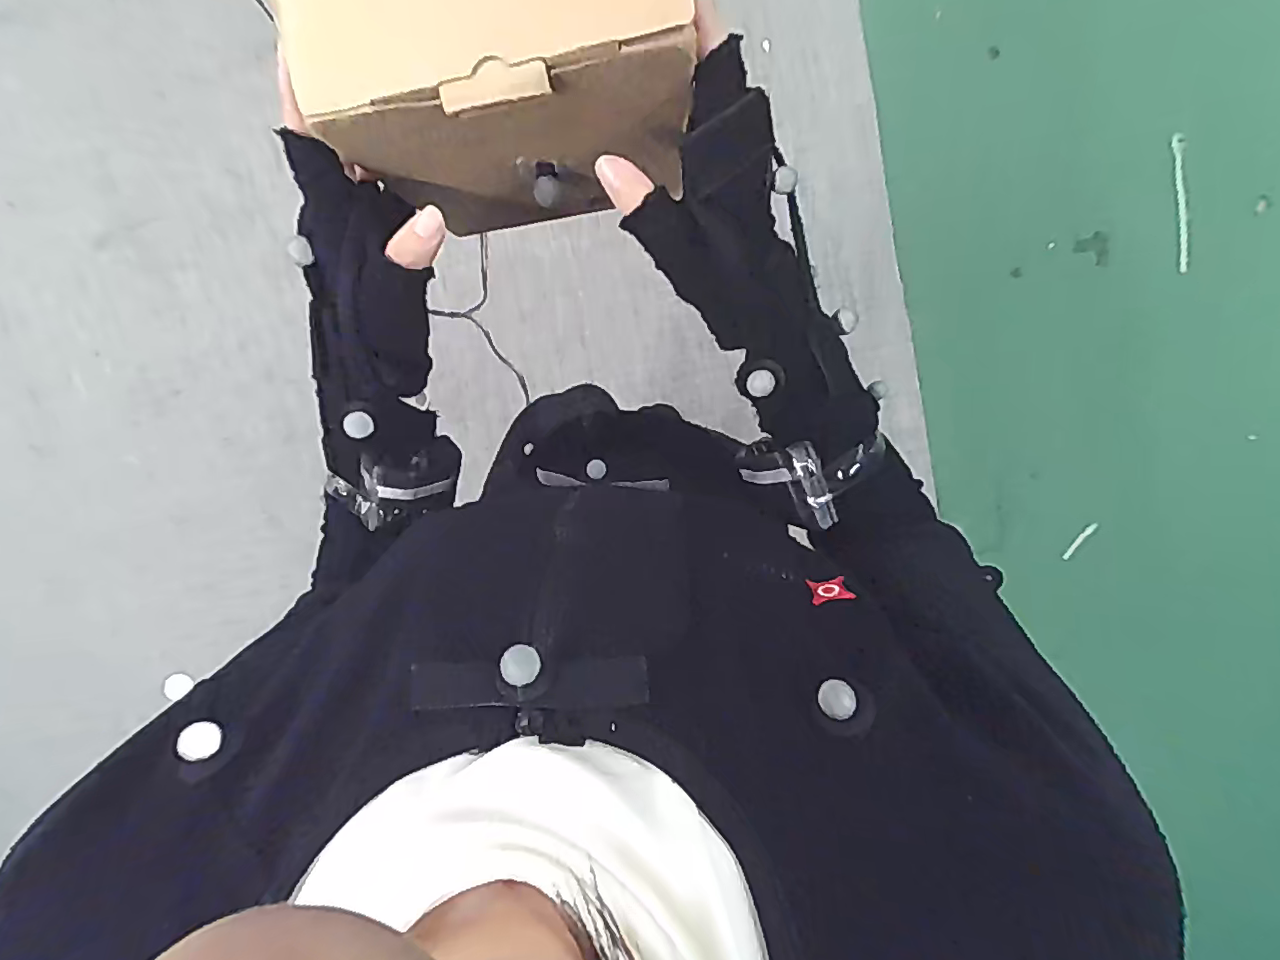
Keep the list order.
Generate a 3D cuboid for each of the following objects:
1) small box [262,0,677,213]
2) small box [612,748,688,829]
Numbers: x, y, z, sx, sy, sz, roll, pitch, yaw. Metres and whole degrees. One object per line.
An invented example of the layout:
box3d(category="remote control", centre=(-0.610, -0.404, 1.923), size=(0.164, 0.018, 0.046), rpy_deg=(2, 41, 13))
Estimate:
box3d(category="small box", centre=(-0.071, -0.258, 0.282), size=(0.168, 0.176, 0.179), rpy_deg=(-7, 99, 4))
box3d(category="small box", centre=(0.027, 0.834, 1.424), size=(0.168, 0.176, 0.179), rpy_deg=(-13, 99, 4))
